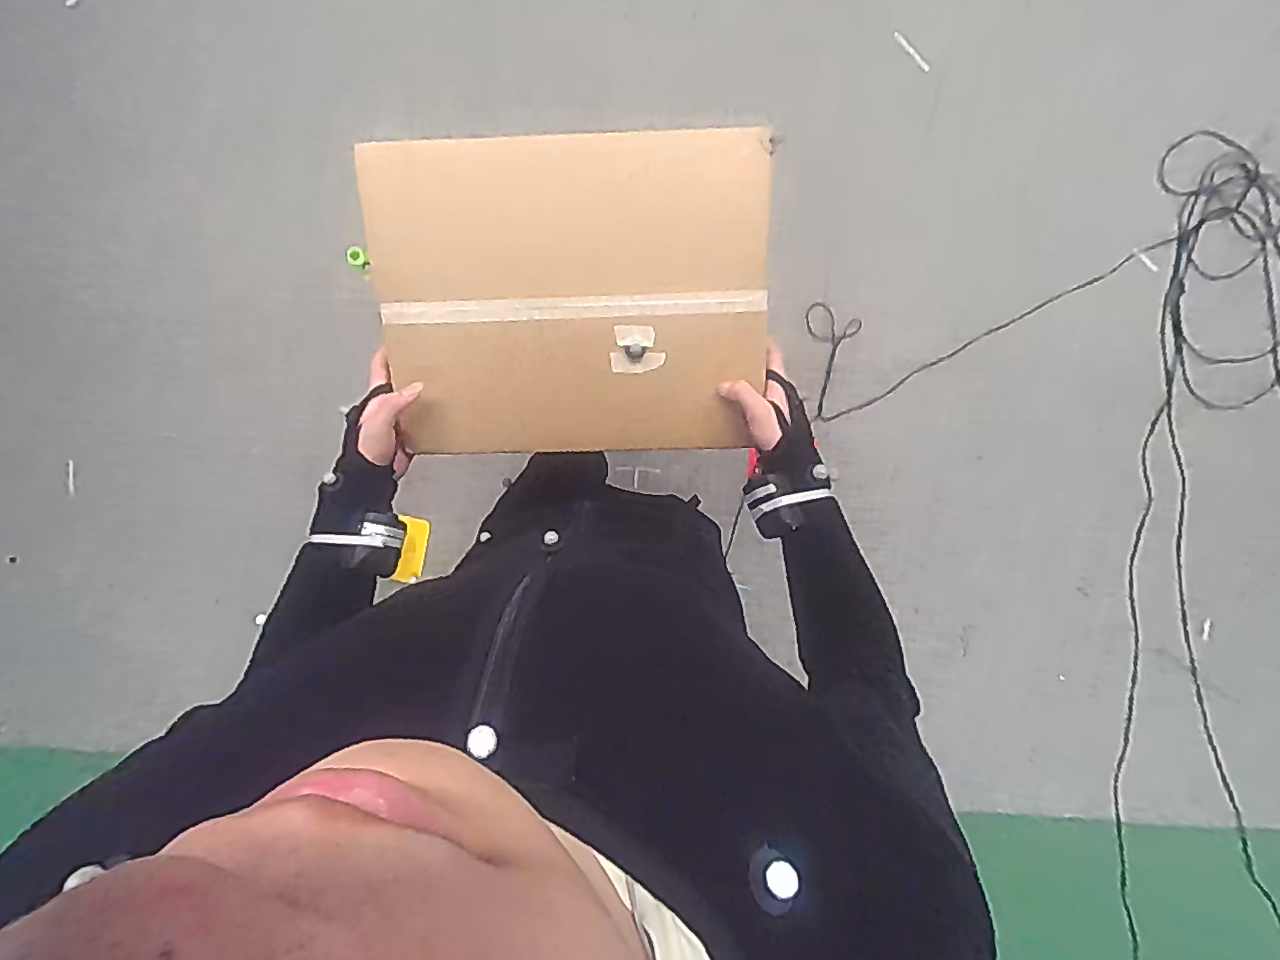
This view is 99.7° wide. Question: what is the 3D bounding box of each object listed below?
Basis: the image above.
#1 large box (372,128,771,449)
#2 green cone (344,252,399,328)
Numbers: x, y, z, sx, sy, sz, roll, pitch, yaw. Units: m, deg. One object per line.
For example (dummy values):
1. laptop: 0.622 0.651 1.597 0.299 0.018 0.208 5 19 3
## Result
1. large box: -0.064 -0.233 0.717 0.408 0.320 0.320 -2 108 1
2. green cone: -0.659 -0.526 1.418 0.200 0.368 0.202 9 96 1
